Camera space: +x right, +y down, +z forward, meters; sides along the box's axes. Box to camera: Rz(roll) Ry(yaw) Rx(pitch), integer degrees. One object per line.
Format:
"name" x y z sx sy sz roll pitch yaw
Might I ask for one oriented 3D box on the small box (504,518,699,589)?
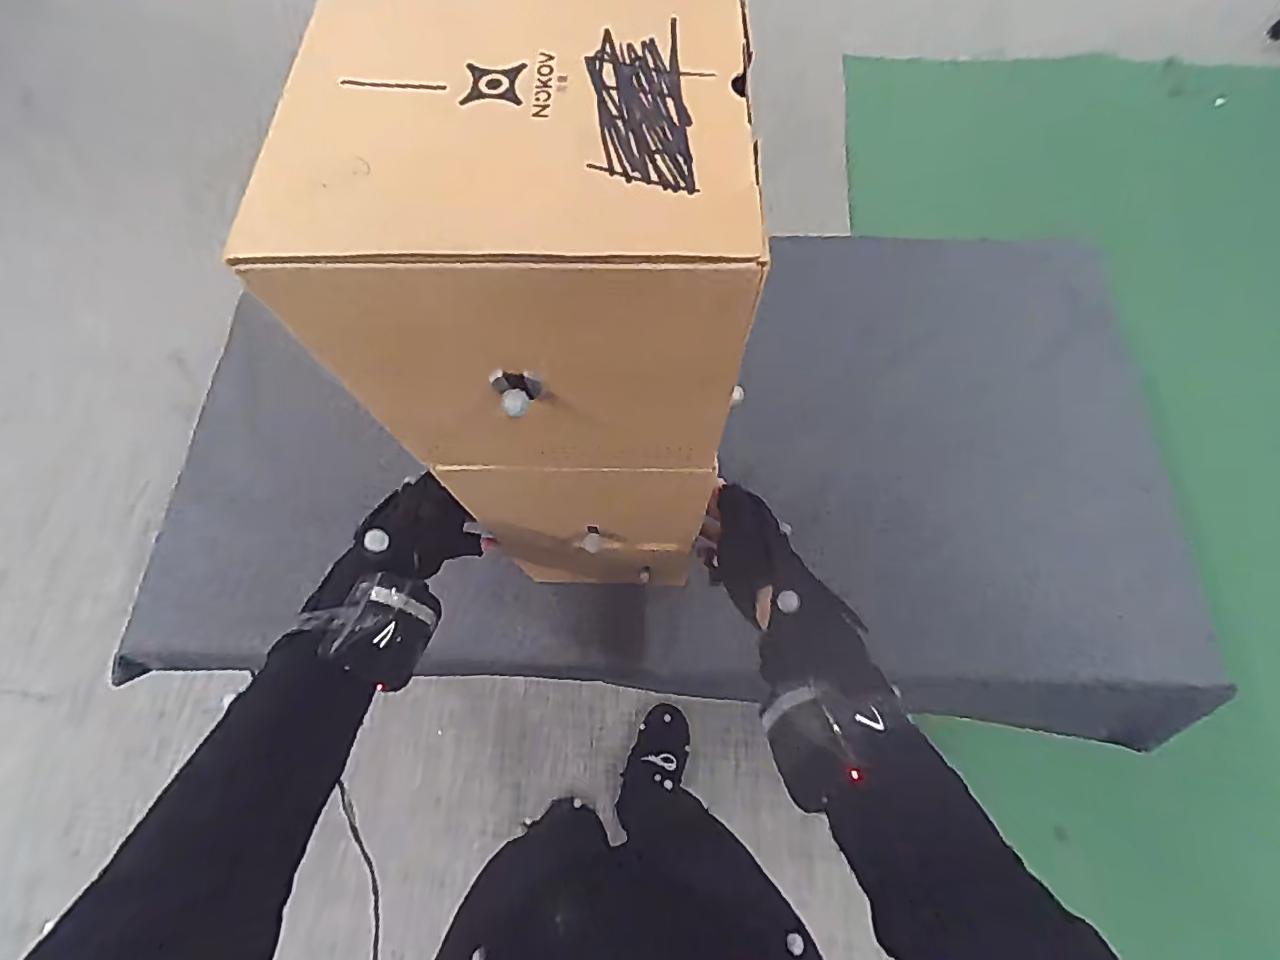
"small box" -0.031 0.019 0.582 0.179 0.176 0.168 0 67 2

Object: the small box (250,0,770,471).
"small box" -0.041 -0.111 0.281 0.179 0.176 0.168 0 68 2

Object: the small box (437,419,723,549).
"small box" -0.036 -0.047 0.432 0.179 0.176 0.168 1 66 0
